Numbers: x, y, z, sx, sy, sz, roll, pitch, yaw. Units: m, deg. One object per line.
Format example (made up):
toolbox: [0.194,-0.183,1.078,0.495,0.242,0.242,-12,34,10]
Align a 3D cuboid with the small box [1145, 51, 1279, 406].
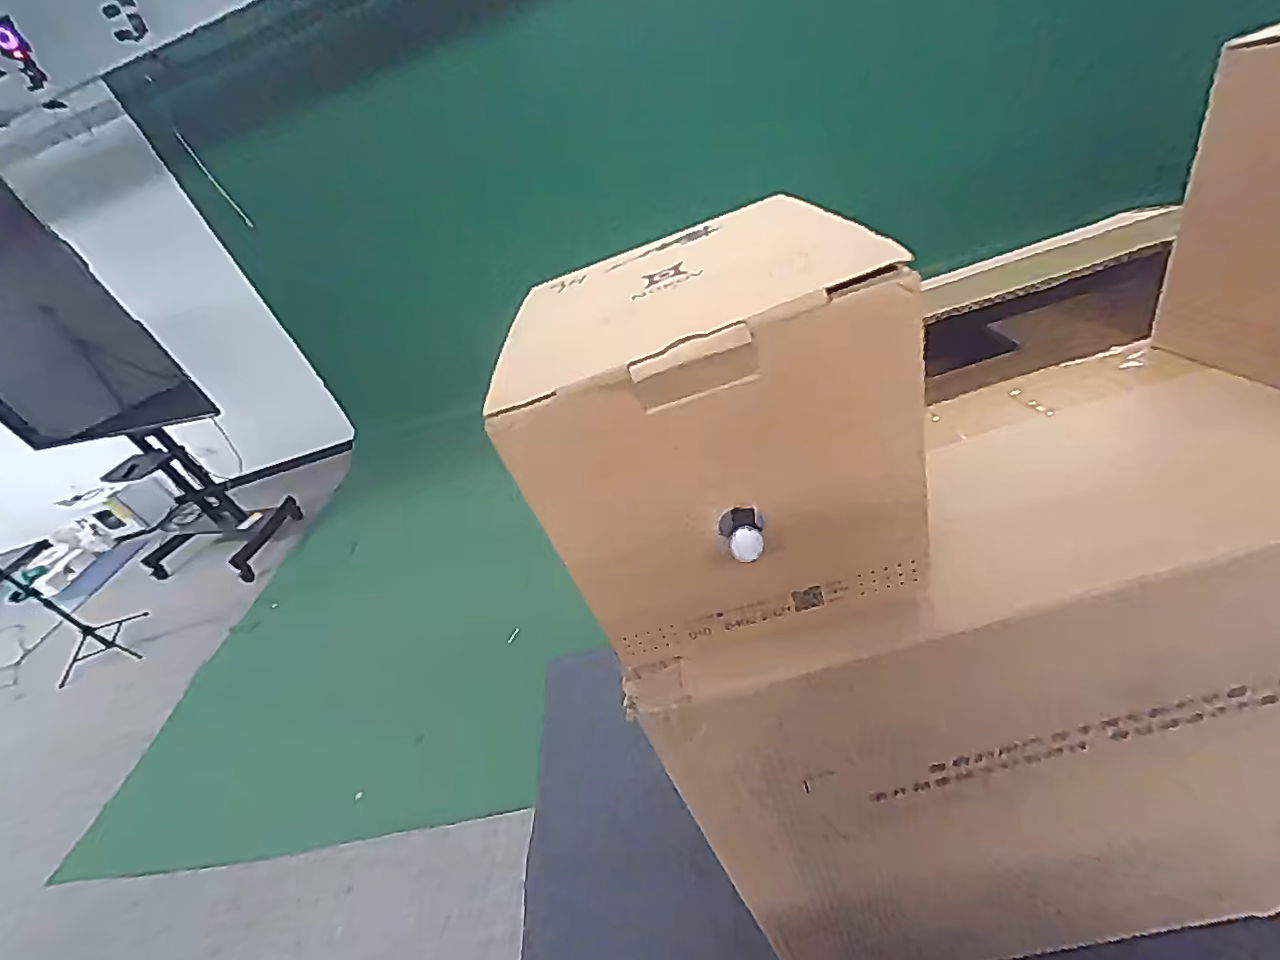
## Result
small box: [0.408,-0.127,0.255,0.168,0.176,0.179,-19,33,-1]

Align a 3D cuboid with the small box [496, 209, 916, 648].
small box: [0.041,-0.026,0.311,0.168,0.176,0.179,-17,34,8]
